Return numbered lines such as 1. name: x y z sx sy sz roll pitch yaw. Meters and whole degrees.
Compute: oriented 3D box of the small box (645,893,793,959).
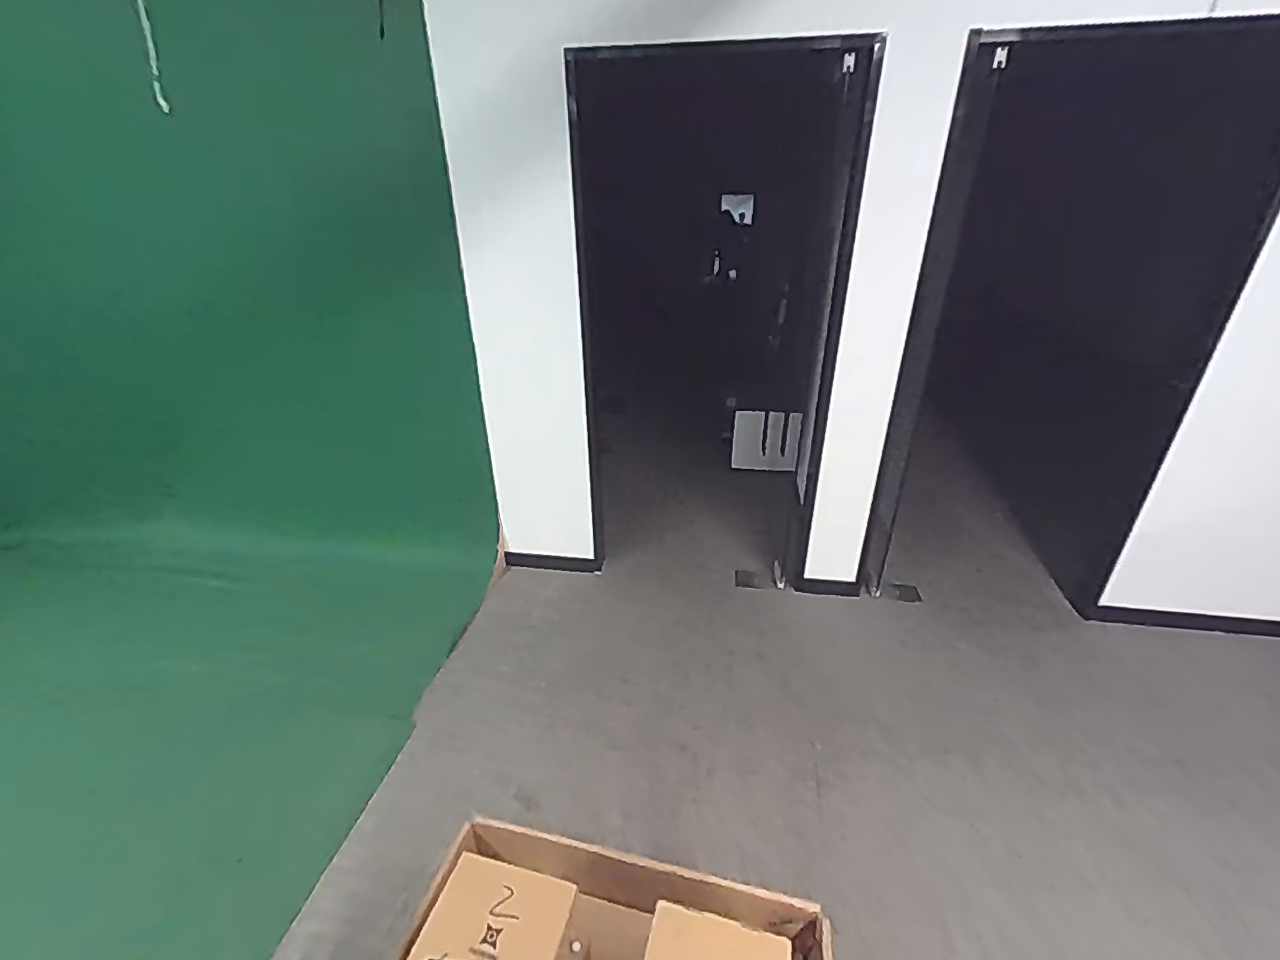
1. small box: 0.080 0.640 0.626 0.168 0.176 0.179 6 29 16
